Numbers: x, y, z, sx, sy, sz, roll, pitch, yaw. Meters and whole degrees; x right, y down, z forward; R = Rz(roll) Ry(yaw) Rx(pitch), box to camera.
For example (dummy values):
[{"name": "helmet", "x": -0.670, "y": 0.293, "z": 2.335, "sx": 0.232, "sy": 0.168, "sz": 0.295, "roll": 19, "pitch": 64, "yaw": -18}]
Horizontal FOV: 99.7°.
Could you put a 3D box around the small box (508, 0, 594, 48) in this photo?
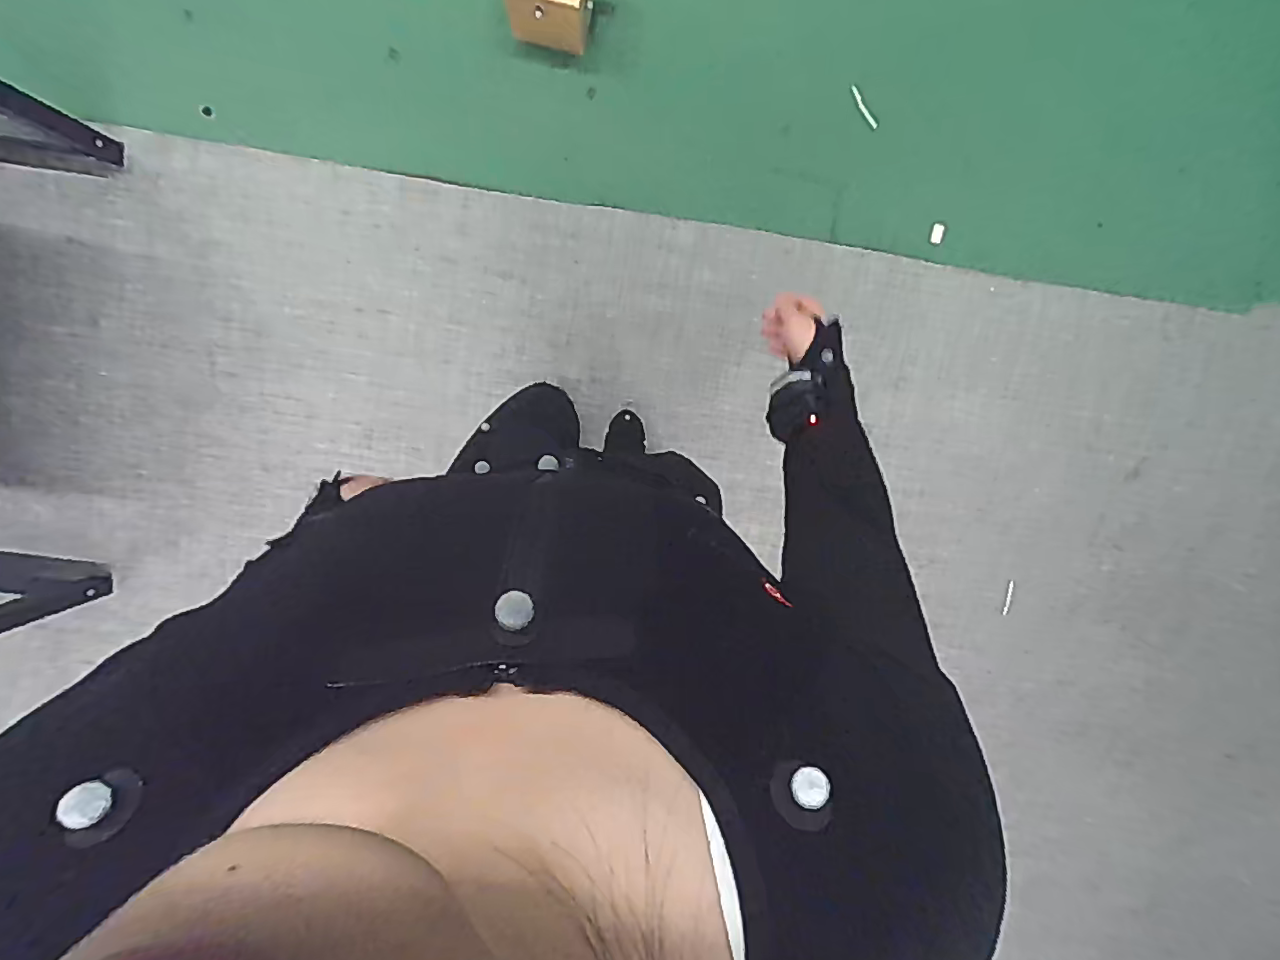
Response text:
[{"name": "small box", "x": -0.199, "y": -1.149, "z": 1.249, "sx": 0.179, "sy": 0.176, "sz": 0.168, "roll": 12, "pitch": 97, "yaw": -3}]
